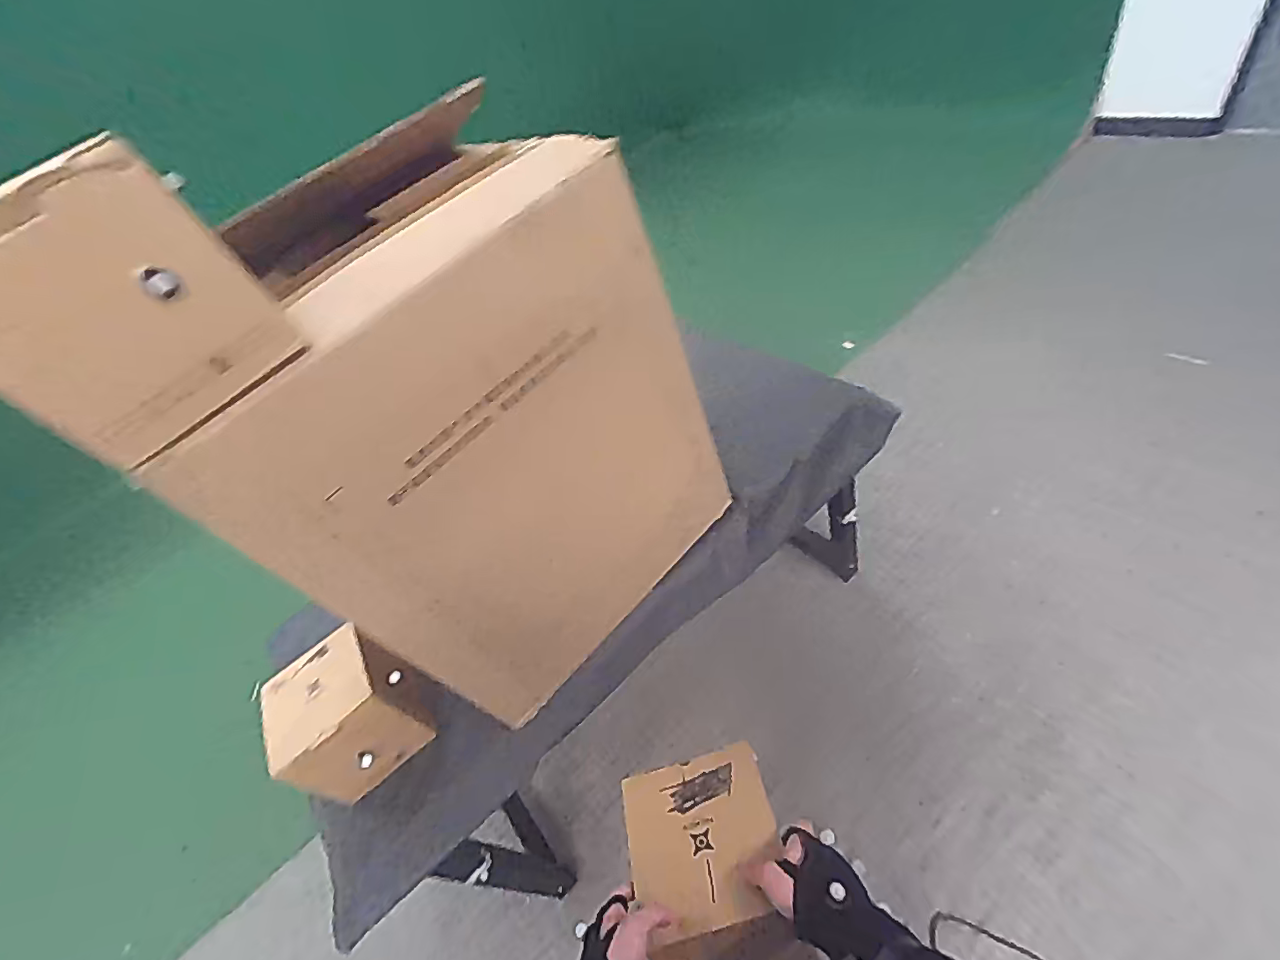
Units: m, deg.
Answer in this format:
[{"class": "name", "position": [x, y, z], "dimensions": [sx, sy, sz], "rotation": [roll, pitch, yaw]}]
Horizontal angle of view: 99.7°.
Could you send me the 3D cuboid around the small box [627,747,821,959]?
[{"class": "small box", "position": [0.094, 0.461, 0.636], "dimensions": [0.168, 0.176, 0.179], "rotation": [-20, 30, 2]}]
